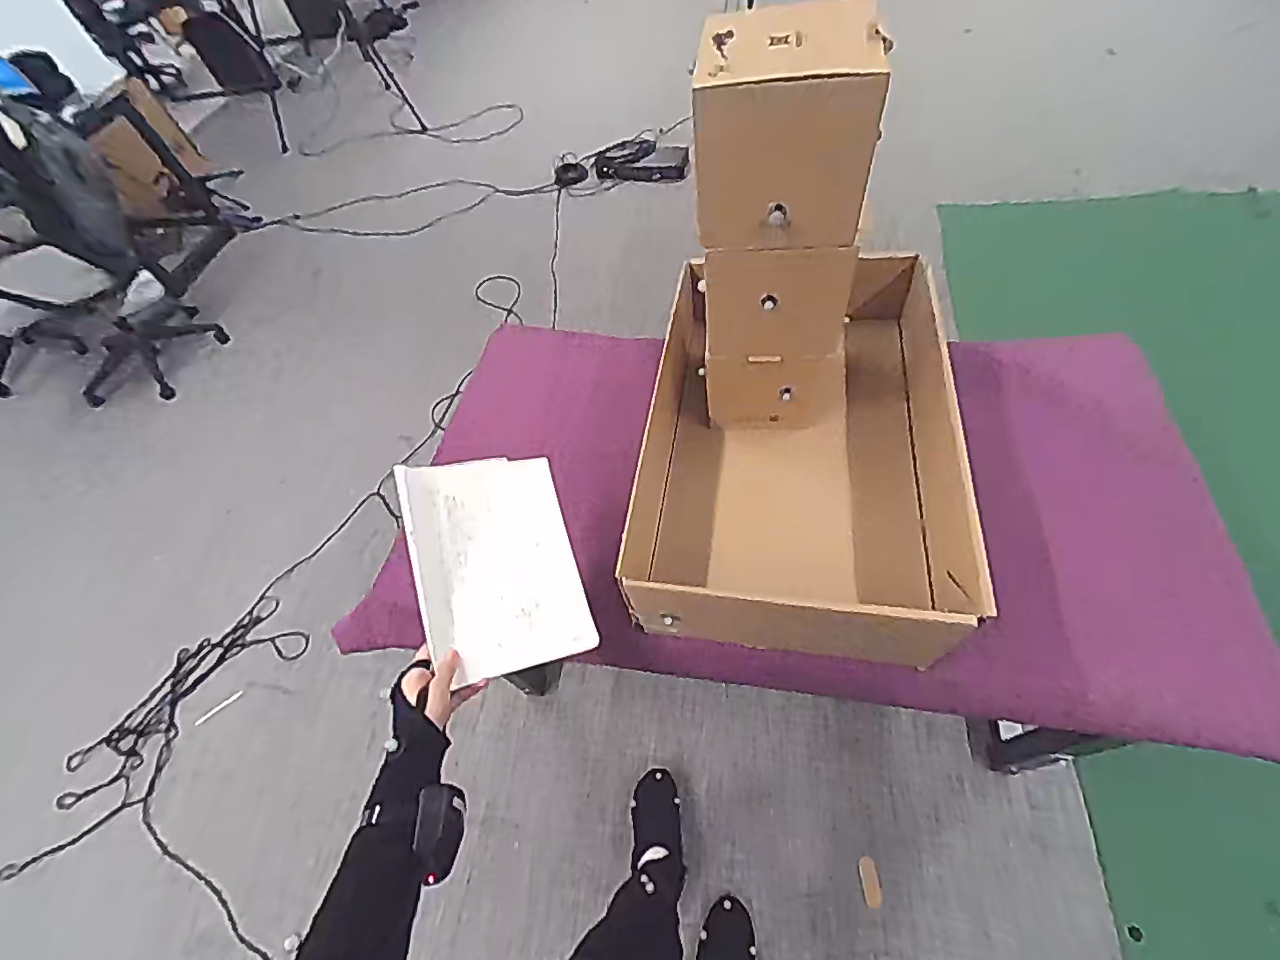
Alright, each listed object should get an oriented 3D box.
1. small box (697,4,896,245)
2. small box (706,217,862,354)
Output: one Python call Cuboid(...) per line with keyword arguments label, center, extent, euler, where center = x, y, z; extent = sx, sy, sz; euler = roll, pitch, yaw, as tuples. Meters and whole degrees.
Cuboid(label="small box", center=(0.159, -0.377, 0.590), extent=(0.179, 0.176, 0.168), euler=(4, 57, 11))
Cuboid(label="small box", center=(0.183, -0.284, 0.724), extent=(0.179, 0.176, 0.168), euler=(2, 57, 11))
